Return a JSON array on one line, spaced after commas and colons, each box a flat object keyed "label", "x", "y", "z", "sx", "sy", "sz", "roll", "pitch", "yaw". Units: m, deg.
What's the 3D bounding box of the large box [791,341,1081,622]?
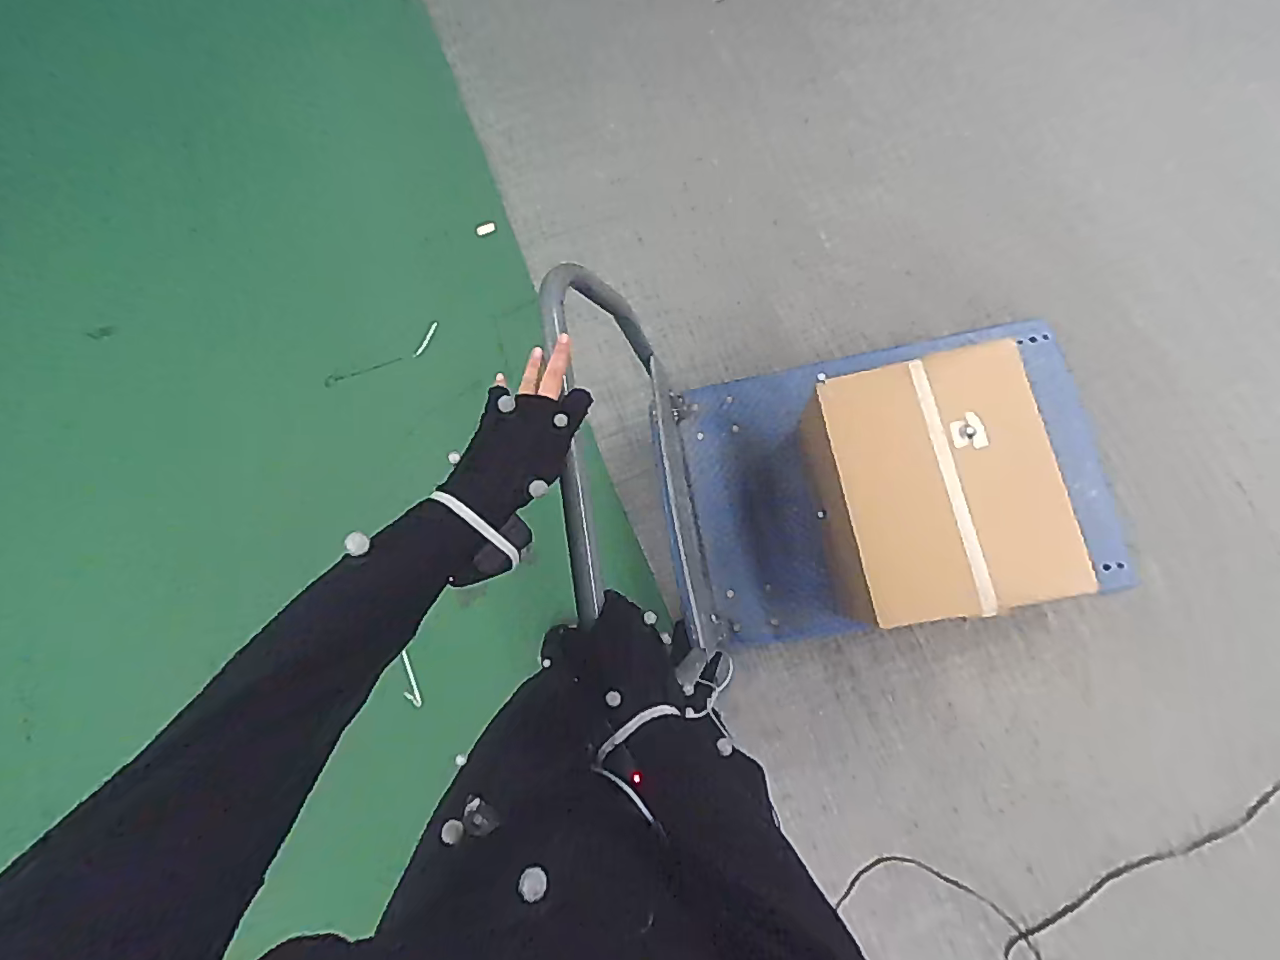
[{"label": "large box", "x": 0.489, "y": 0.024, "z": 0.994, "sx": 0.320, "sy": 0.320, "sz": 0.408, "roll": -12, "pitch": 78, "yaw": 7}]
